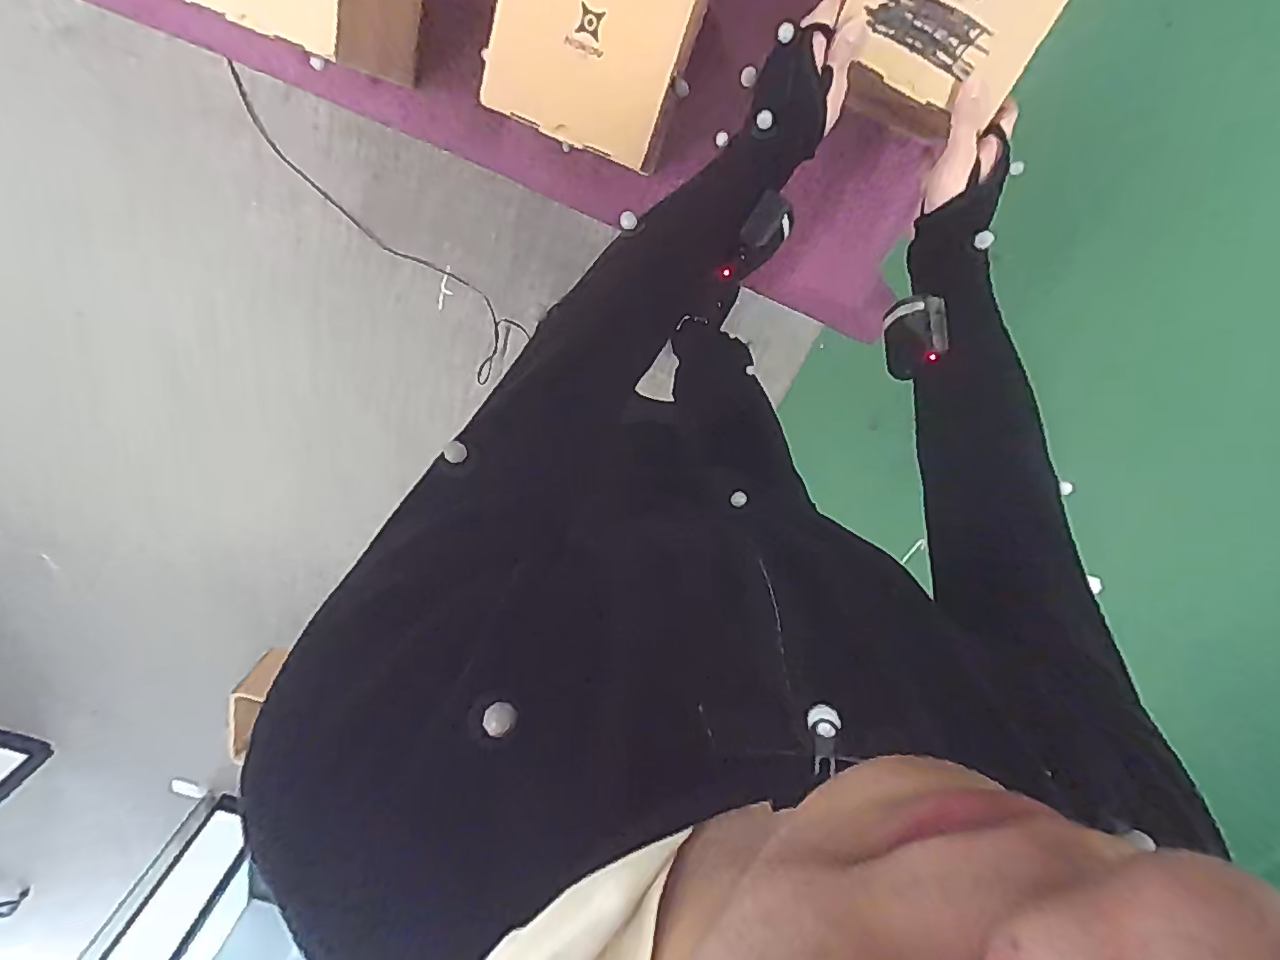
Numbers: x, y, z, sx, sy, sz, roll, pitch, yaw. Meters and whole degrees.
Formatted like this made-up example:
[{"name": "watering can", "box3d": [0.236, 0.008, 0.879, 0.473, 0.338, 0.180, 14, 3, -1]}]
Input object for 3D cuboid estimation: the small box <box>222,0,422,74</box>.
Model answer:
[{"name": "small box", "box3d": [-0.319, -0.532, 0.518, 0.168, 0.176, 0.179, 20, 119, -6]}]
